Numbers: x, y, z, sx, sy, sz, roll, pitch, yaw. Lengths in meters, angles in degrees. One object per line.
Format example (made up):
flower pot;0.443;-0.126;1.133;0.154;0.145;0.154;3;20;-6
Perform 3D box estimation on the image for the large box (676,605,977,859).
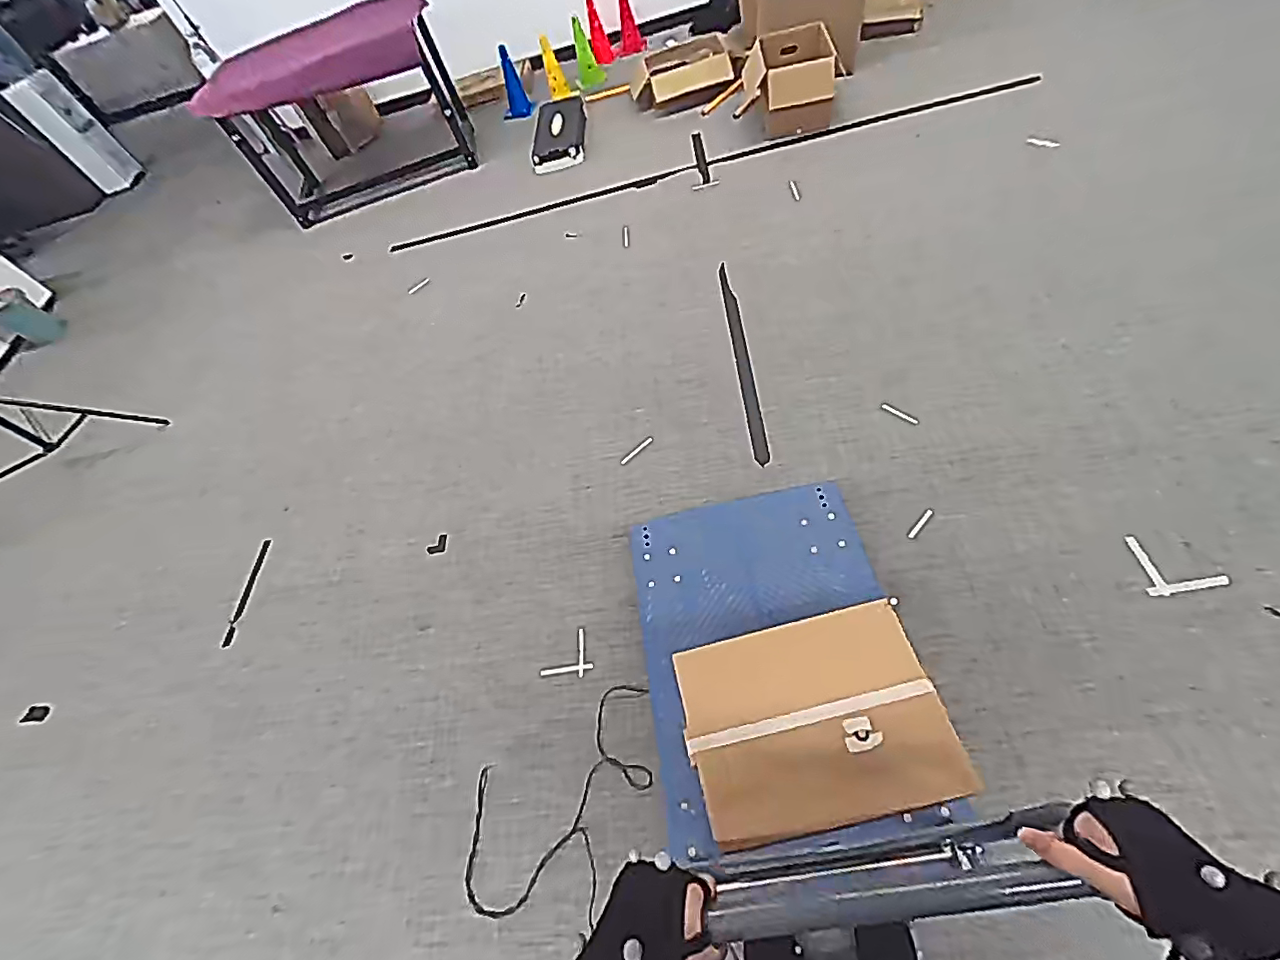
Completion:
large box;0.312;0.482;1.017;0.408;0.320;0.320;-16;55;3
